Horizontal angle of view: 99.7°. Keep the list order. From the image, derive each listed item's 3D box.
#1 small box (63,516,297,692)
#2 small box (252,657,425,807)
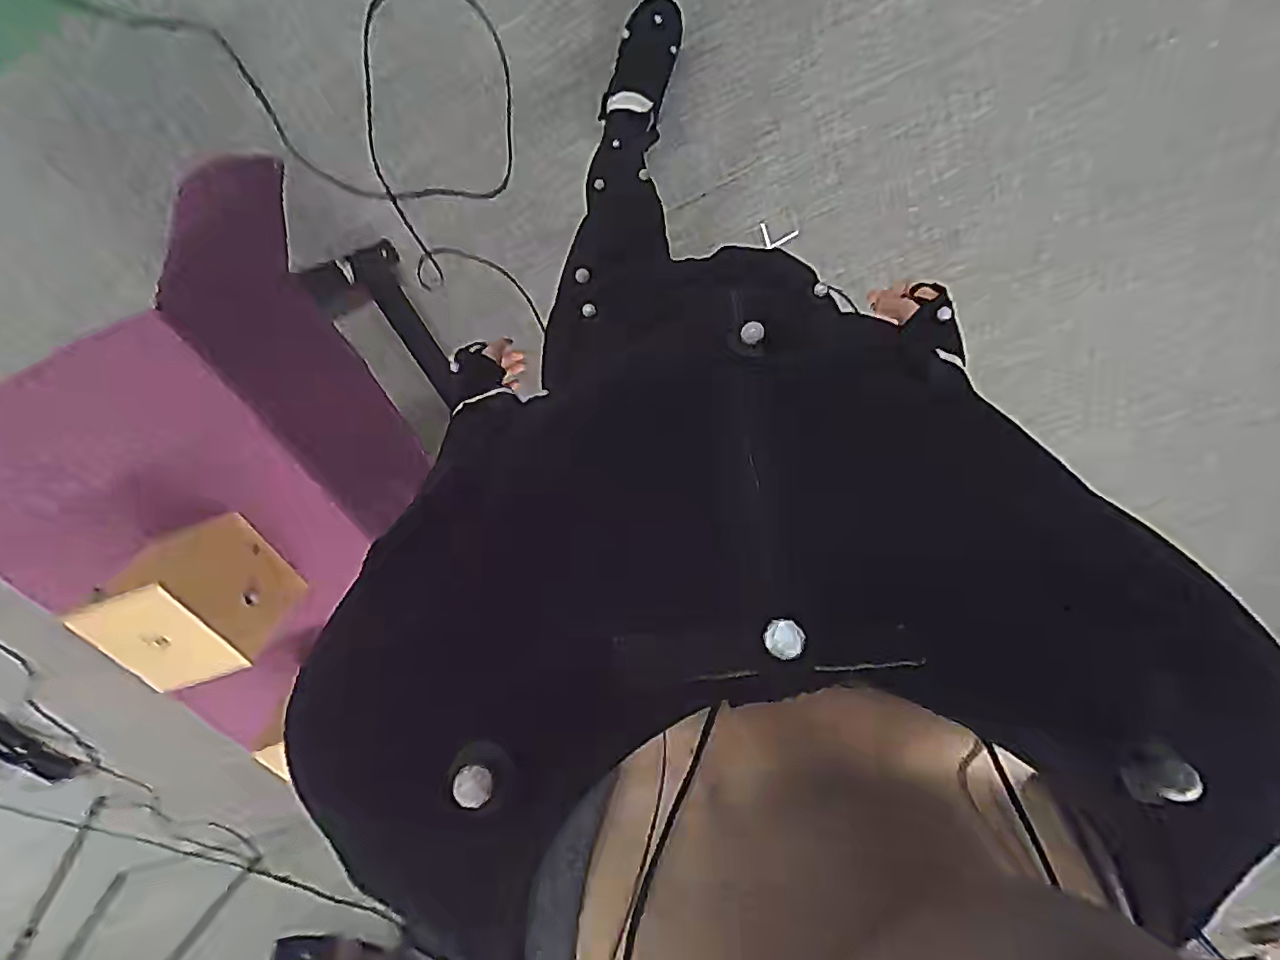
[{"bbox_3d":[-0.654,0.178,0.803,0.179,0.176,0.168,-19,120,12],"label":"small box"},{"bbox_3d":[-0.522,0.440,0.964,0.168,0.176,0.179,-20,120,13],"label":"small box"}]
